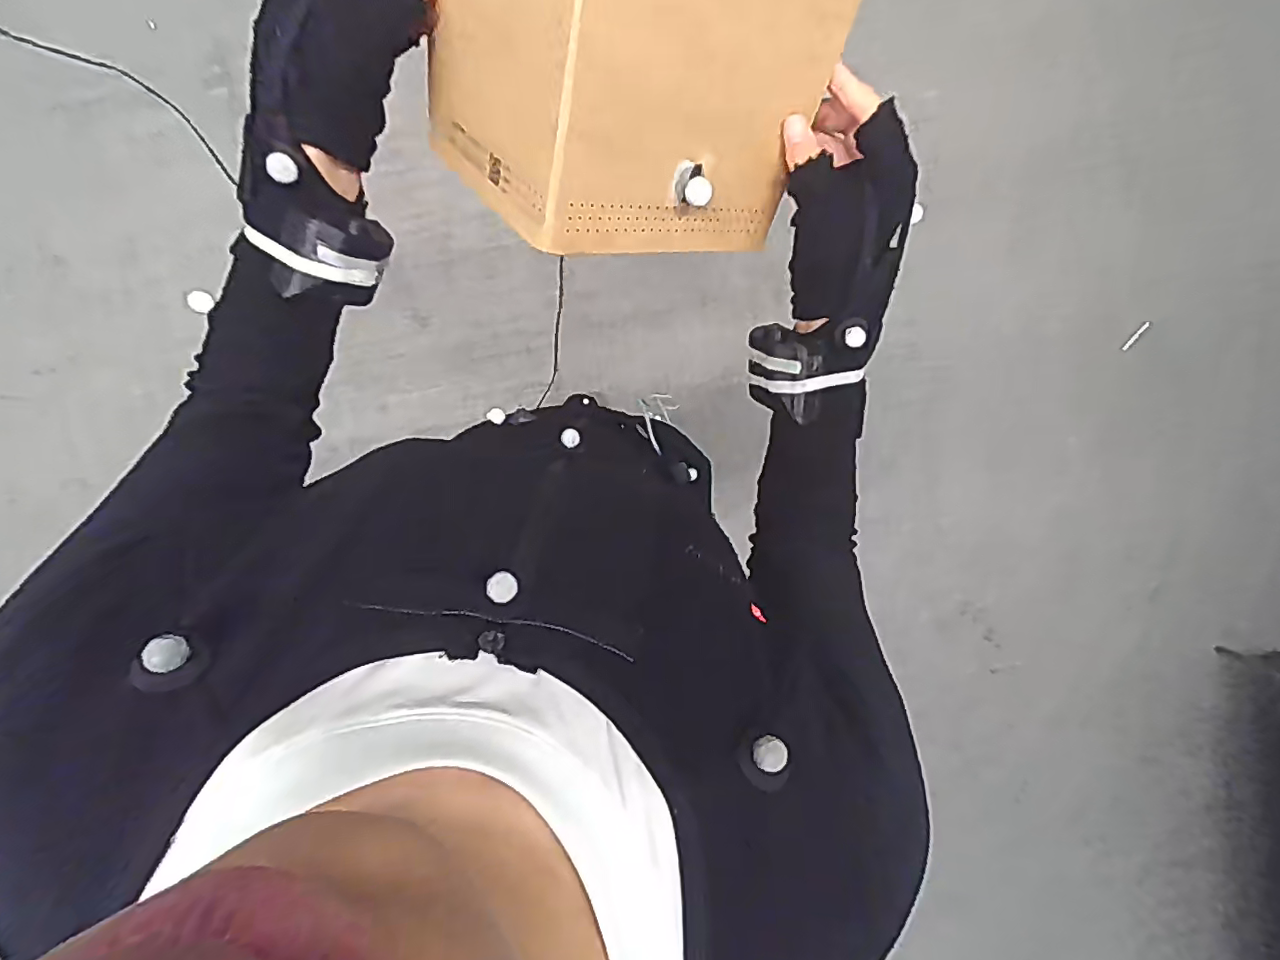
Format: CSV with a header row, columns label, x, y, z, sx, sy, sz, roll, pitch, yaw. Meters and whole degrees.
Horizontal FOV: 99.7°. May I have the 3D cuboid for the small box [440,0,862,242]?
label,x,y,z,sx,sy,sz,roll,pitch,yaw
small box,-0.006,-0.258,0.322,0.179,0.168,0.176,-18,144,-34
